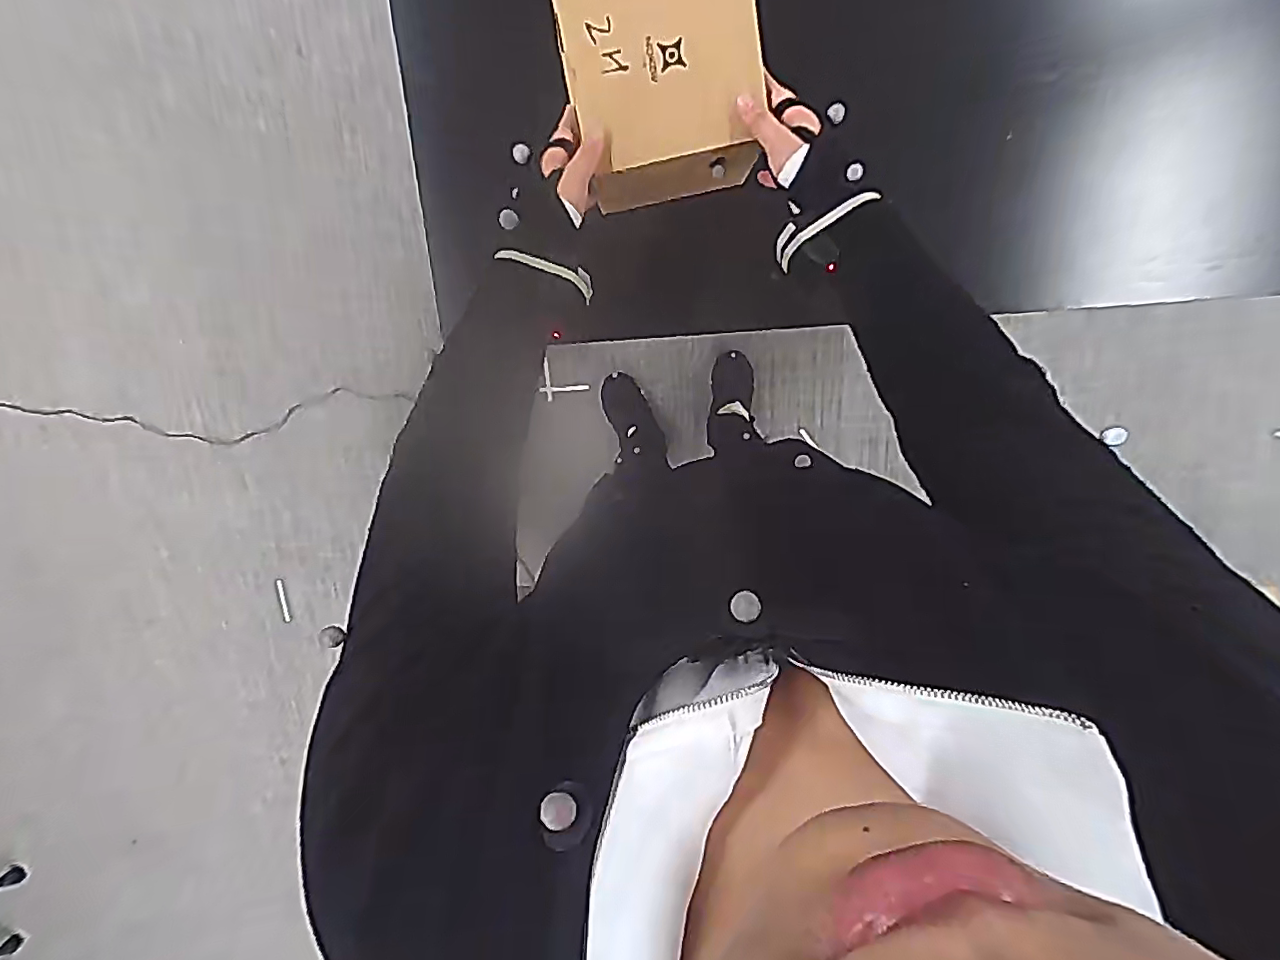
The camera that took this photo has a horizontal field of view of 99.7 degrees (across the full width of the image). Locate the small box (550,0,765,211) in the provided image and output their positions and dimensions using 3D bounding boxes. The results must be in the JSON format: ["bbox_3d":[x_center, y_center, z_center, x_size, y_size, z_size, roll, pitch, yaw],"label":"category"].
[{"bbox_3d":[0.018,-0.399,0.563,0.179,0.176,0.168,-10,105,5],"label":"small box"}]
